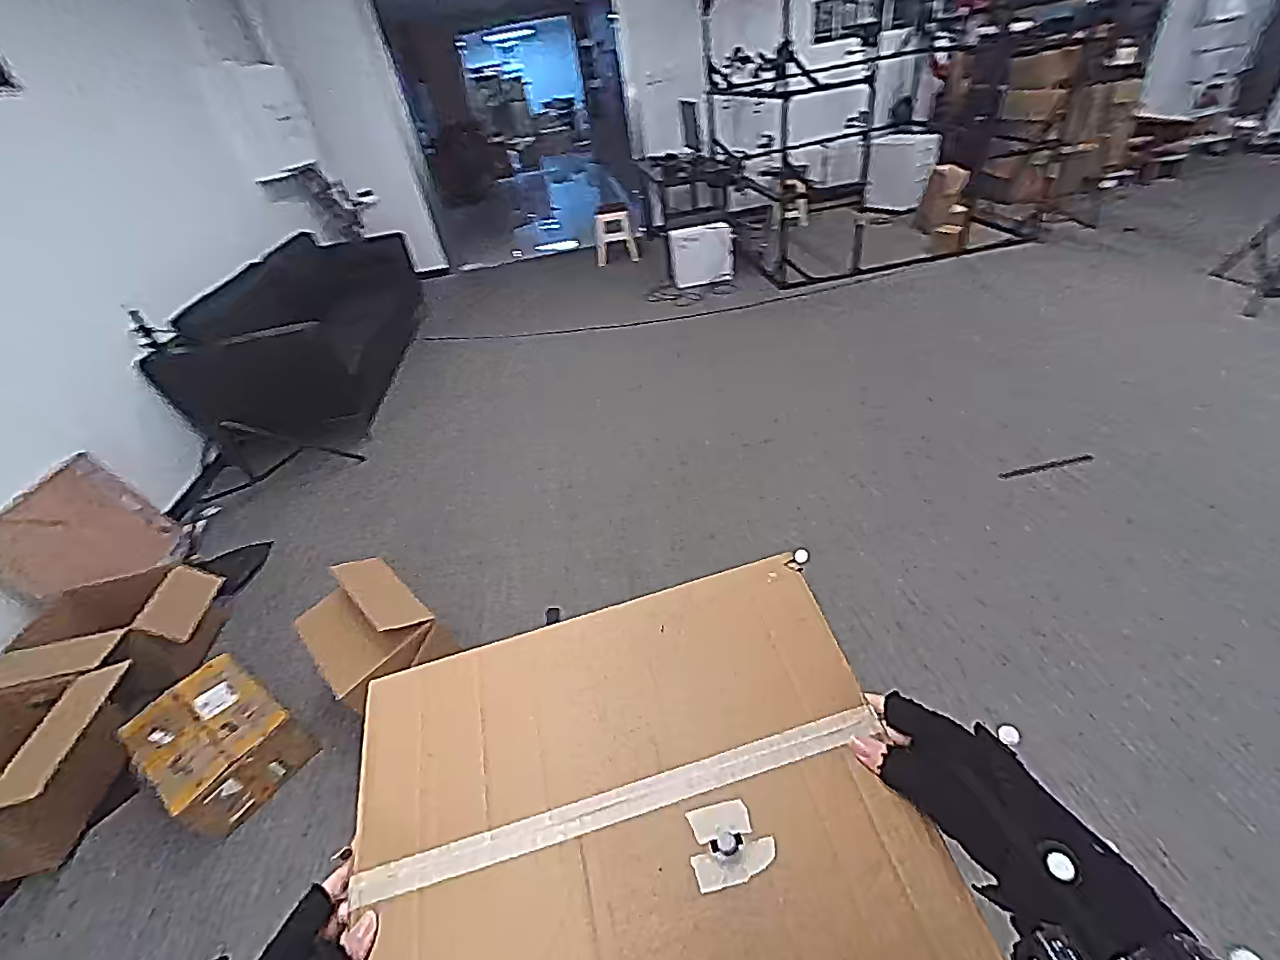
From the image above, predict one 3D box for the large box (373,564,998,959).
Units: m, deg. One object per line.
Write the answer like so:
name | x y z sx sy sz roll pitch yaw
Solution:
large box | 0.015 0.341 0.525 0.408 0.320 0.320 -16 51 -3
